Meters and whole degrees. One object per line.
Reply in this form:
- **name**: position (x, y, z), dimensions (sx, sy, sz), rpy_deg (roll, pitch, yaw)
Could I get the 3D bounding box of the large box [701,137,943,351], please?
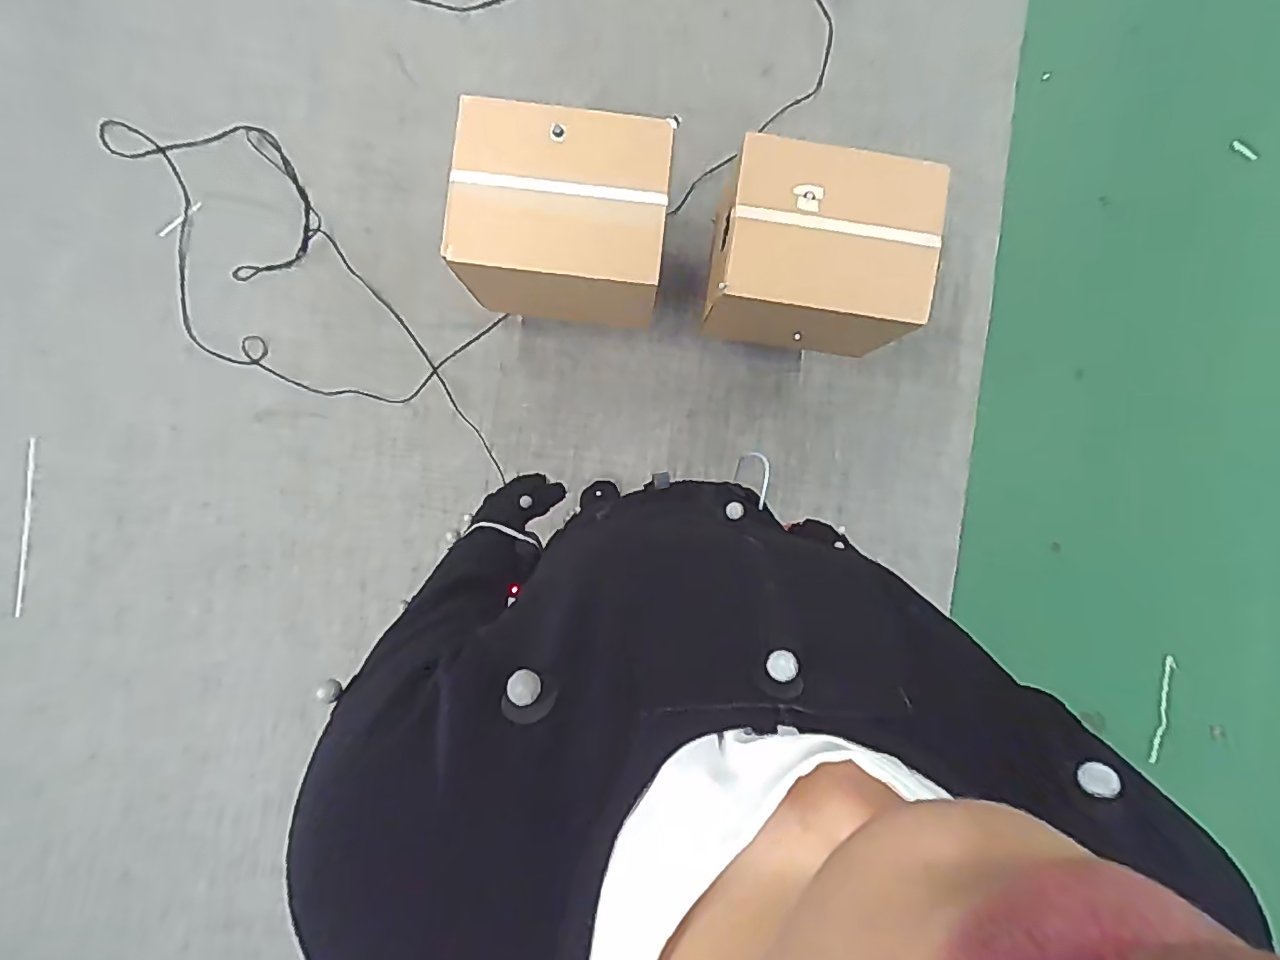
- **large box**: position (0.372, -0.488, 1.194), dimensions (0.408, 0.320, 0.320), rpy_deg (8, 90, -2)
